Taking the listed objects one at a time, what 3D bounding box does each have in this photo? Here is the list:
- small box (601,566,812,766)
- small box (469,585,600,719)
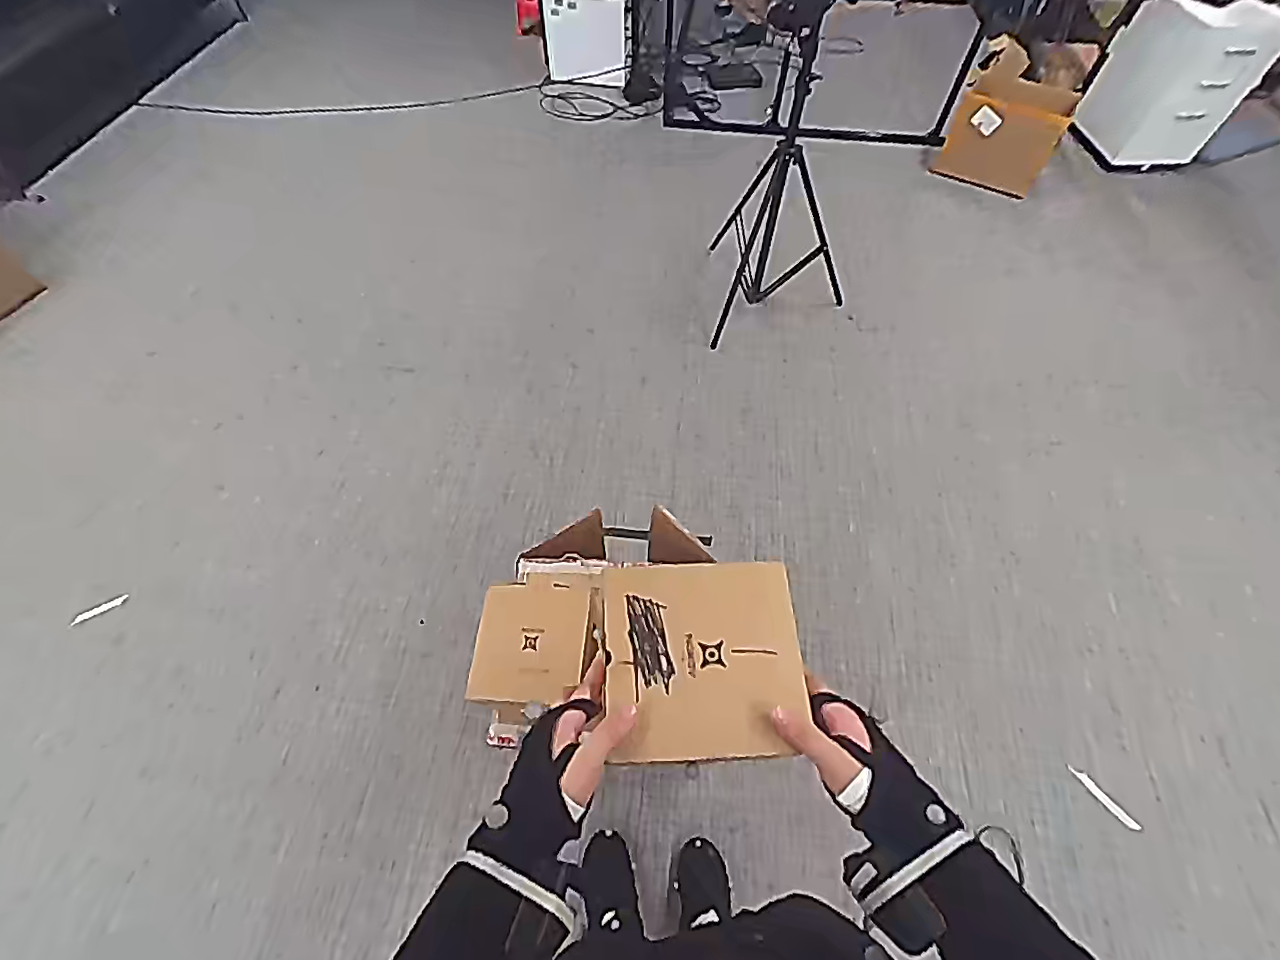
[{"bbox_3d":[0.052,0.194,0.550,0.179,0.176,0.168,-1,62,-3],"label":"small box"},{"bbox_3d":[-0.159,0.284,0.883,0.168,0.176,0.179,2,62,3],"label":"small box"}]
